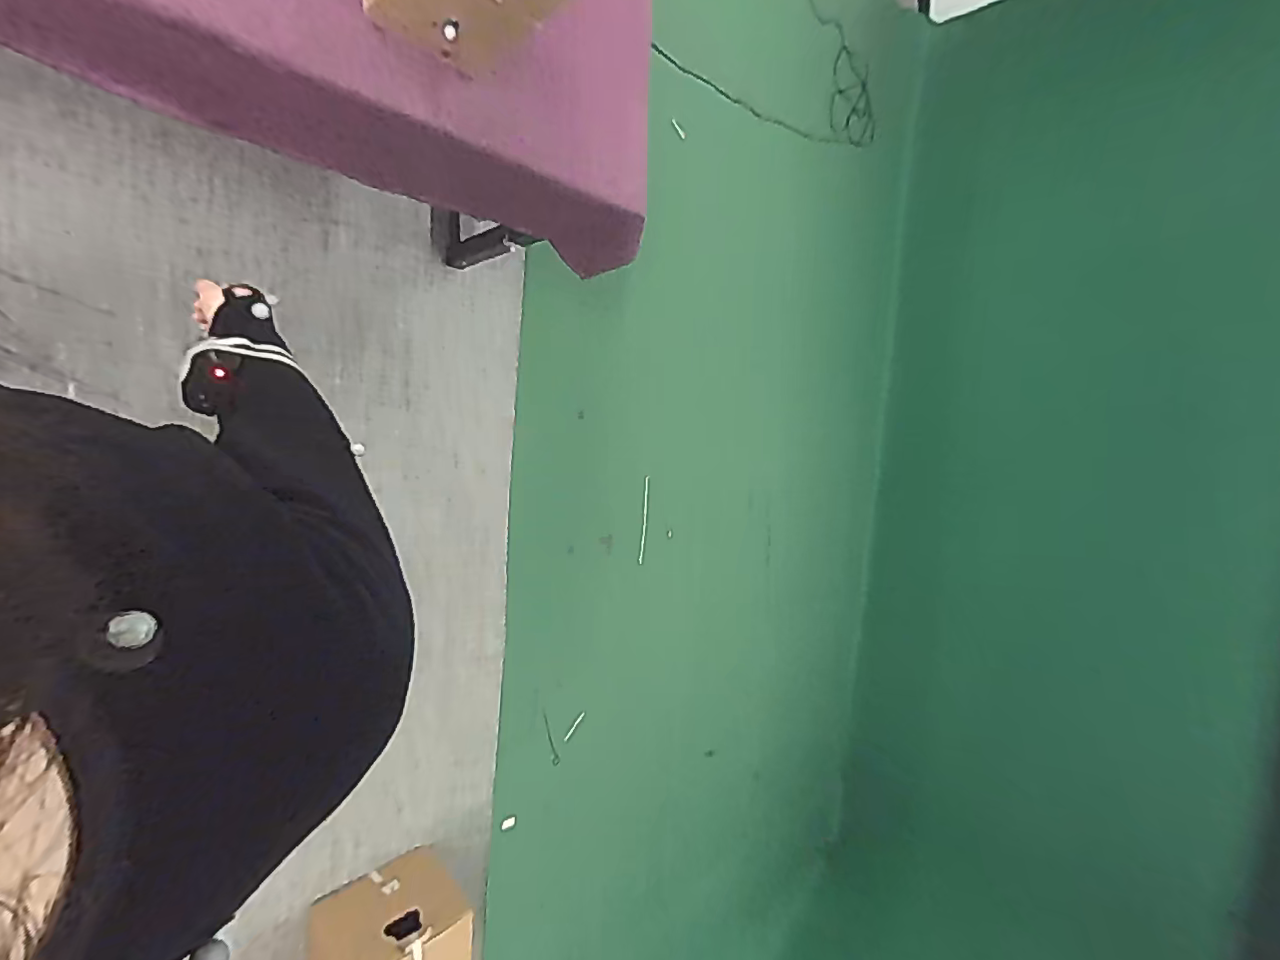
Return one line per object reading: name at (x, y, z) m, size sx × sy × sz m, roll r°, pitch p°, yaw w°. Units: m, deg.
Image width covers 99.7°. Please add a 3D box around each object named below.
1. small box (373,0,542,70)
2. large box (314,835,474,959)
small box at (-0.237, -0.678, 0.691) m, size 0.168 × 0.176 × 0.179 m, roll -3°, pitch 99°, yaw -46°
large box at (-0.682, 1.320, 1.497) m, size 0.320 × 0.320 × 0.408 m, roll -2°, pitch 99°, yaw -47°
